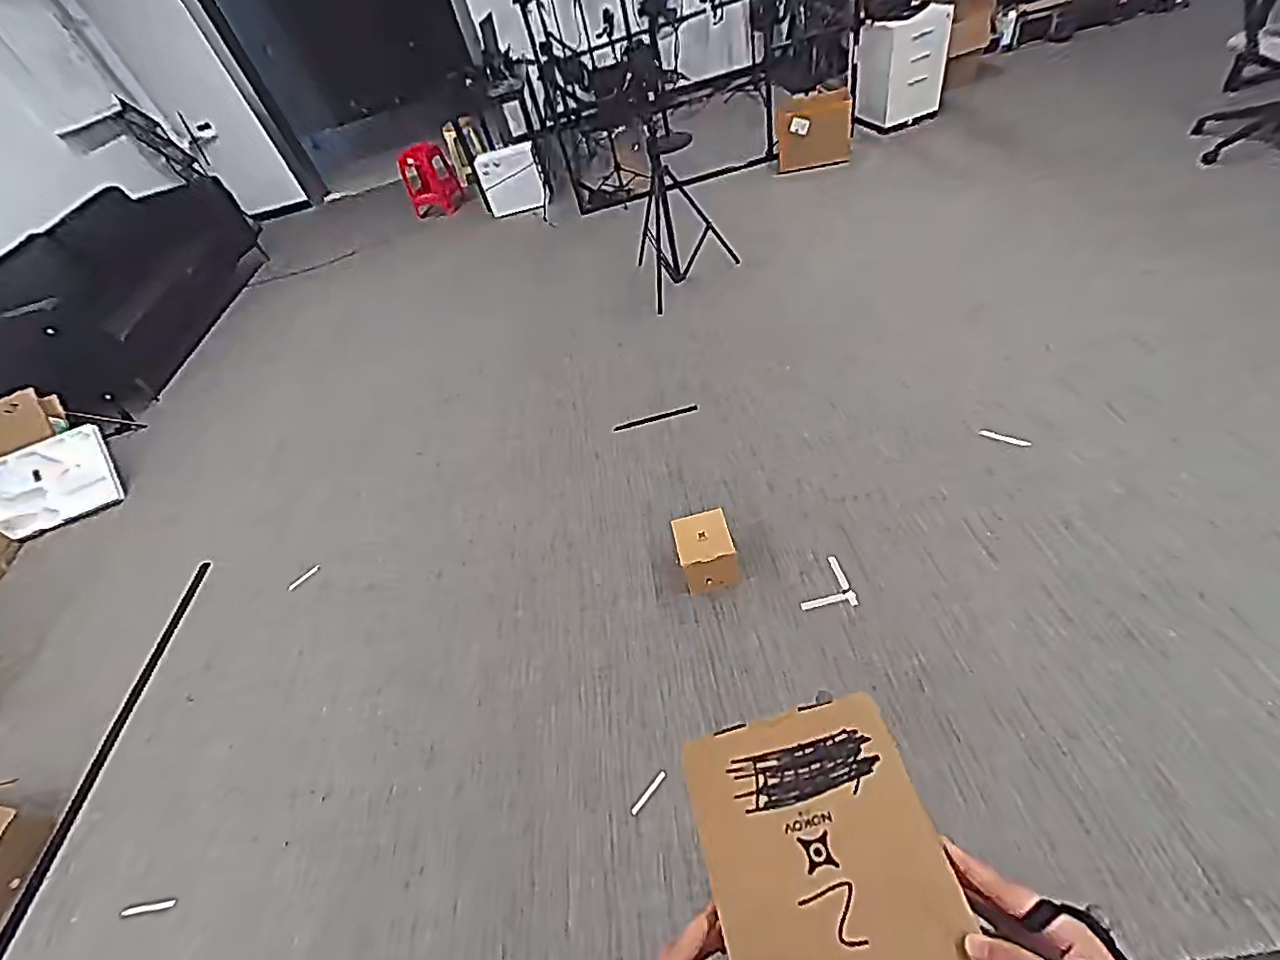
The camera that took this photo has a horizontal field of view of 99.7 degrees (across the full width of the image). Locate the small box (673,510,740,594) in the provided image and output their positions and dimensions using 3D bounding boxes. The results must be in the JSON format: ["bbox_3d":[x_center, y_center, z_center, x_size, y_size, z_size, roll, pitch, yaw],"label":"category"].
[{"bbox_3d":[0.209,0.226,1.685,0.168,0.176,0.179,-15,46,3],"label":"small box"}]
